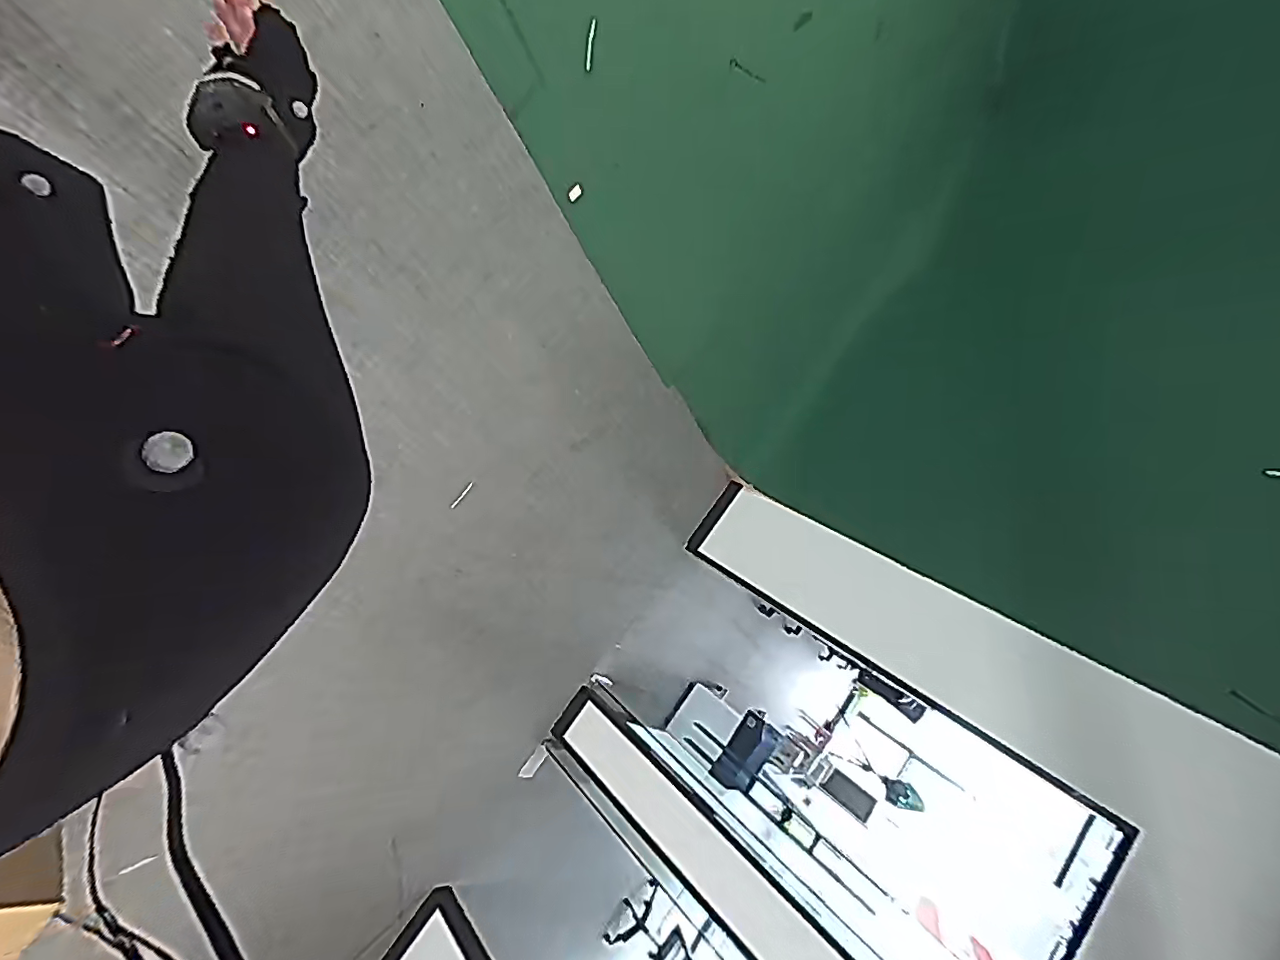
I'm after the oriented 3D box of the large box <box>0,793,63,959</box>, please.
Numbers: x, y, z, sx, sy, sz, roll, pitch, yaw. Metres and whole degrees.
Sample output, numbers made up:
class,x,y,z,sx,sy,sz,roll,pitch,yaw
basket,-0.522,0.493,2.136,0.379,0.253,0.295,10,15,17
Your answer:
class,x,y,z,sx,sy,sz,roll,pitch,yaw
large box,-1.535,0.872,1.087,0.320,0.320,0.408,-51,143,-10
